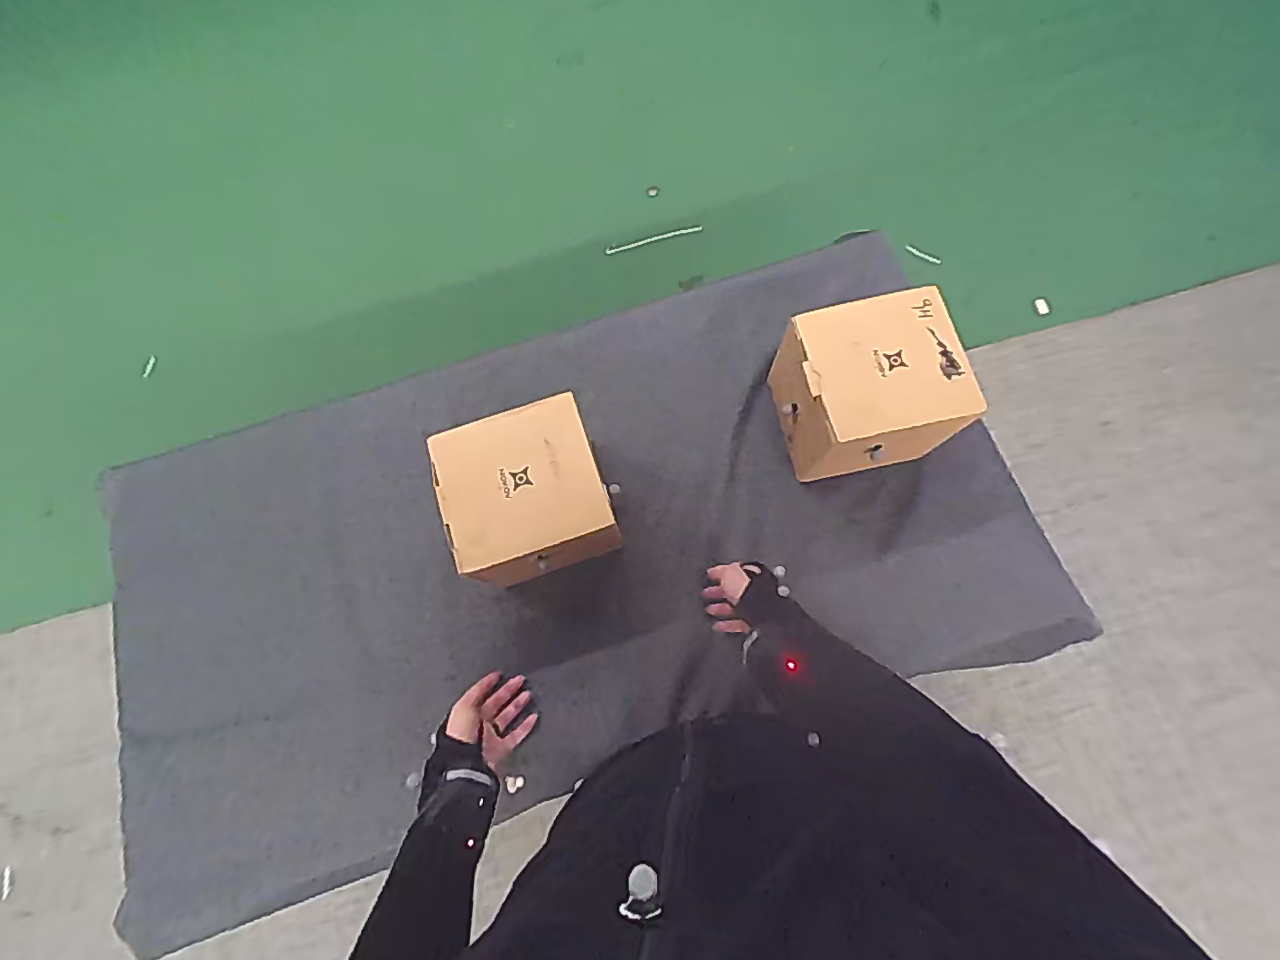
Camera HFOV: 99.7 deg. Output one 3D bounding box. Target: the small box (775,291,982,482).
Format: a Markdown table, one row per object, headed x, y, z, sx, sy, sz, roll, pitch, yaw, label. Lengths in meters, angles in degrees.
| x | y | z | sx | sy | sz | roll | pitch | yaw | label |
| --- | --- | --- | --- | --- | --- | --- | --- | --- | --- |
| 0.280 | -0.107 | 0.689 | 0.179 | 0.176 | 0.168 | -12 | 75 | 0 | small box |

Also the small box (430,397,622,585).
| x | y | z | sx | sy | sz | roll | pitch | yaw | label |
| --- | --- | --- | --- | --- | --- | --- | --- | --- | --- |
| -0.130 | 0.025 | 0.673 | 0.179 | 0.176 | 0.168 | -19 | 75 | -4 | small box |
